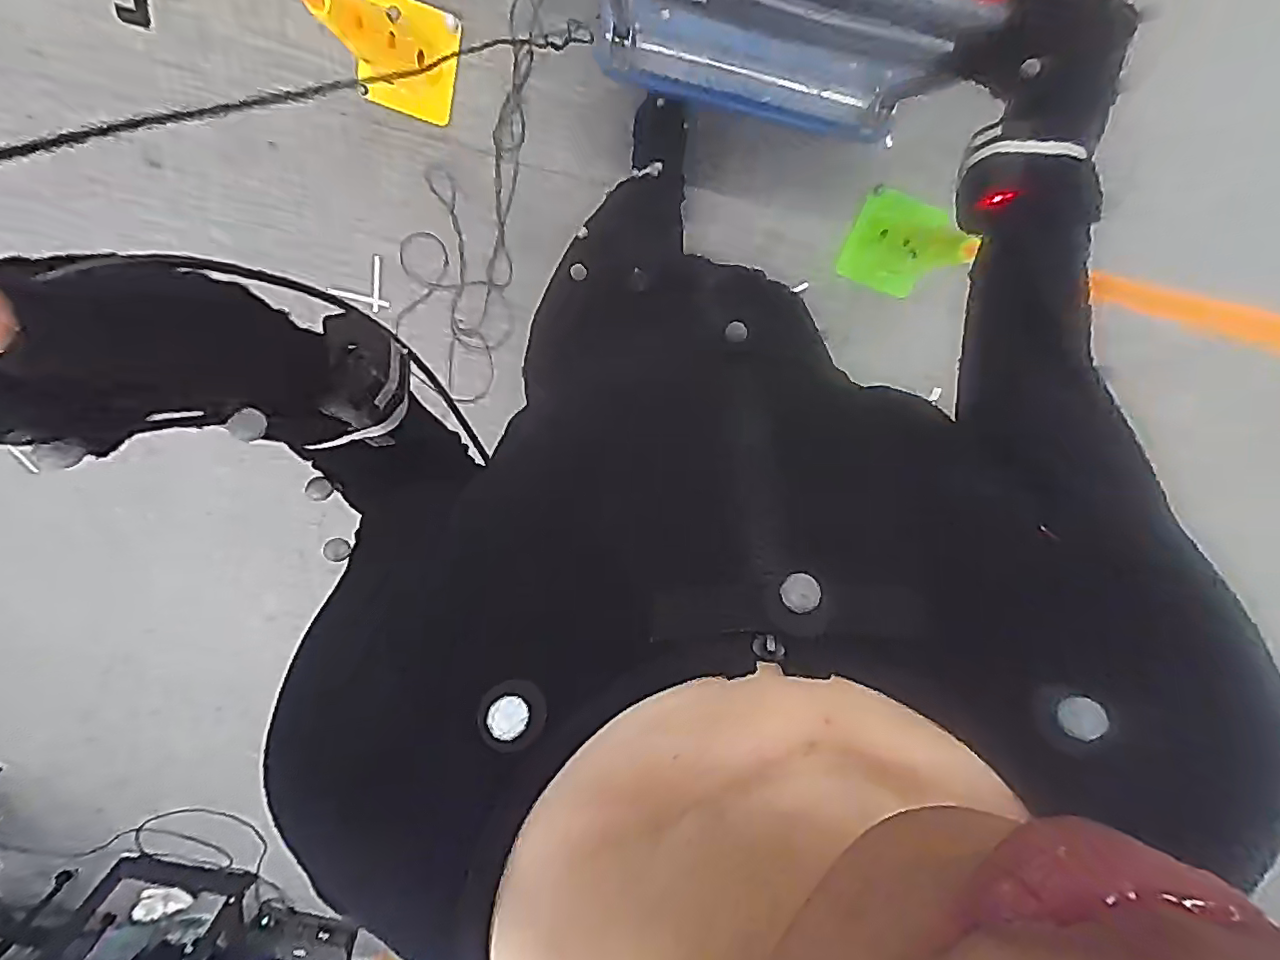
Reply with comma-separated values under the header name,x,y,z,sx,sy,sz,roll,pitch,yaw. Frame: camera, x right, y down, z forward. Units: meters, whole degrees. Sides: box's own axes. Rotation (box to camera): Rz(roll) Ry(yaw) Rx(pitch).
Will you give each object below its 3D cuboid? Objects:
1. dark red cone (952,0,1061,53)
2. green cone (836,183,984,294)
name,x,y,z,sx,sy,sz,roll,pitch,yaw
dark red cone,0.725,-0.891,0.890,0.201,0.394,0.202,13,116,-7
green cone,0.583,-0.484,1.112,0.202,0.368,0.200,17,115,-8
